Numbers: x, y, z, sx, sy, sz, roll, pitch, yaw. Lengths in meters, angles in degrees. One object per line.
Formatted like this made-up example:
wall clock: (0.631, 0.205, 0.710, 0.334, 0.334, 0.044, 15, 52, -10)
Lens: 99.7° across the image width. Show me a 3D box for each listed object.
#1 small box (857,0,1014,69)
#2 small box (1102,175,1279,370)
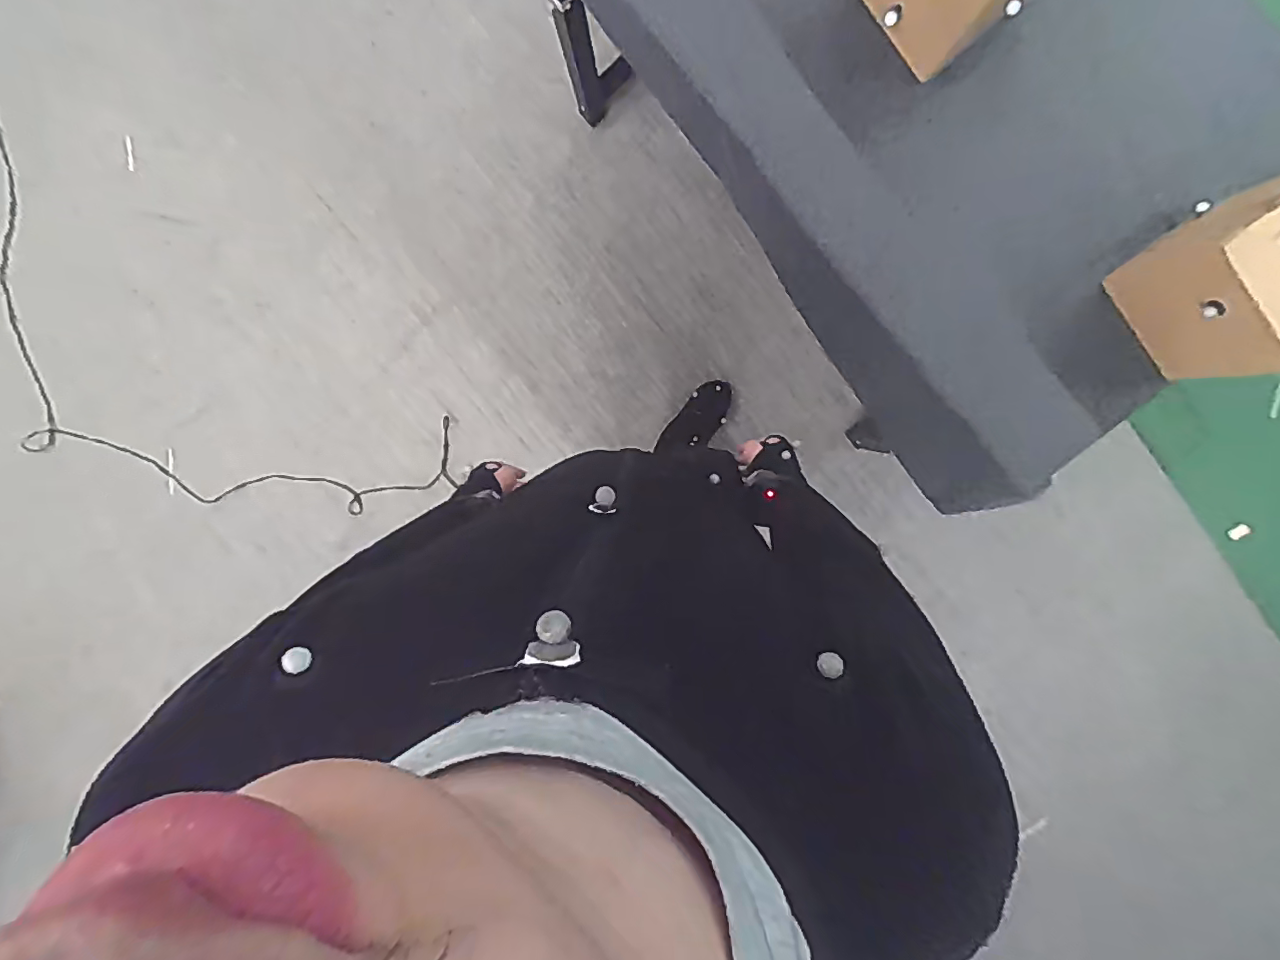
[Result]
small box: (0.386, -0.645, 0.646, 0.168, 0.176, 0.179, -40, 96, 4)
small box: (0.758, -0.257, 0.687, 0.168, 0.176, 0.179, -38, 96, 5)
